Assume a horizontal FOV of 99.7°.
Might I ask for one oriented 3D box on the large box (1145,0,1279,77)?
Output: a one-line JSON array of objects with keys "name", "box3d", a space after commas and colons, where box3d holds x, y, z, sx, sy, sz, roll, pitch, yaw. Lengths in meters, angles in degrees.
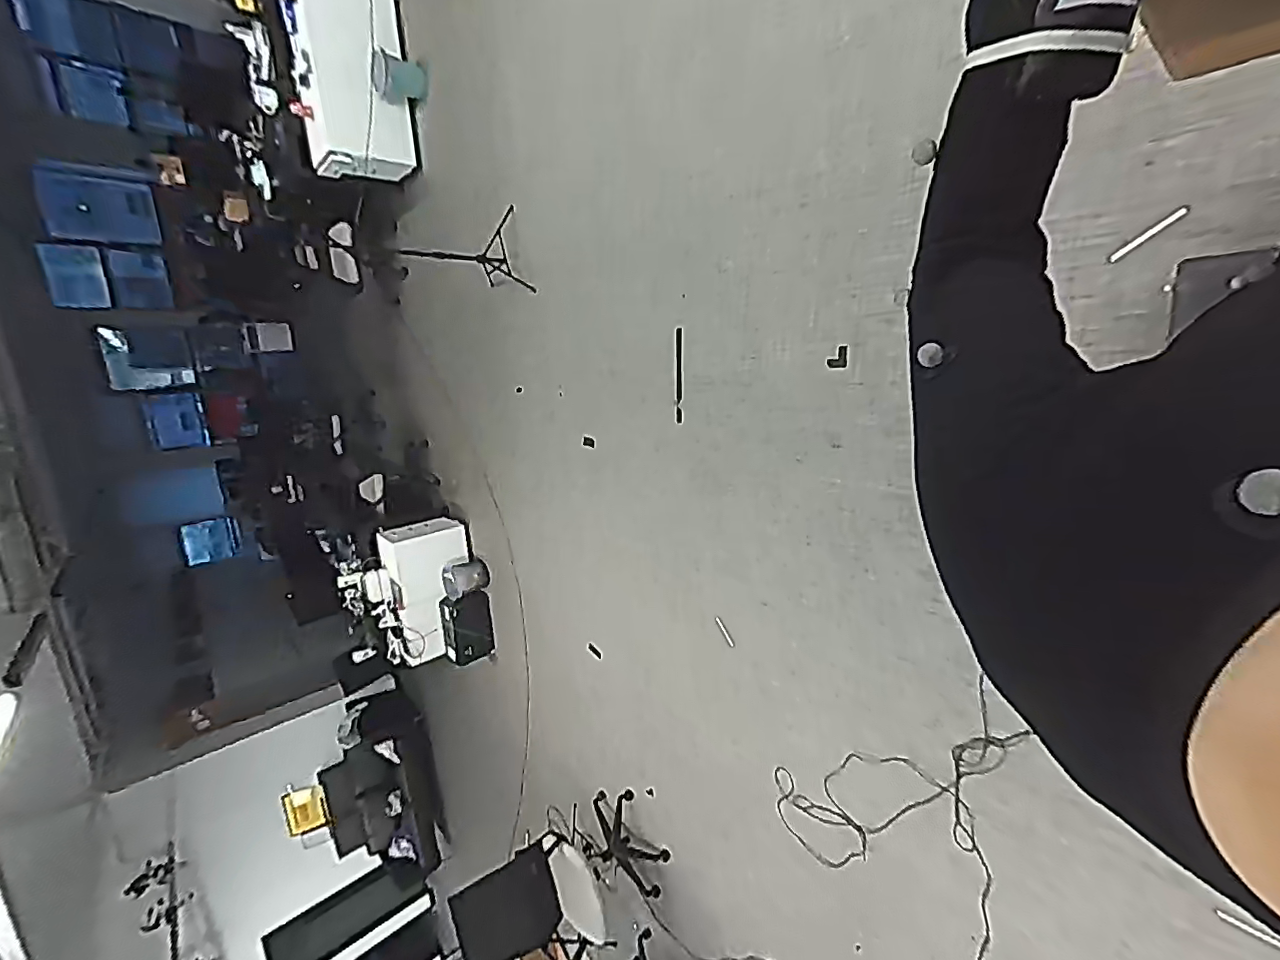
[{"name": "large box", "box3d": [0.510, -0.465, 0.235, 0.408, 0.320, 0.320, 10, 112, 47]}]
